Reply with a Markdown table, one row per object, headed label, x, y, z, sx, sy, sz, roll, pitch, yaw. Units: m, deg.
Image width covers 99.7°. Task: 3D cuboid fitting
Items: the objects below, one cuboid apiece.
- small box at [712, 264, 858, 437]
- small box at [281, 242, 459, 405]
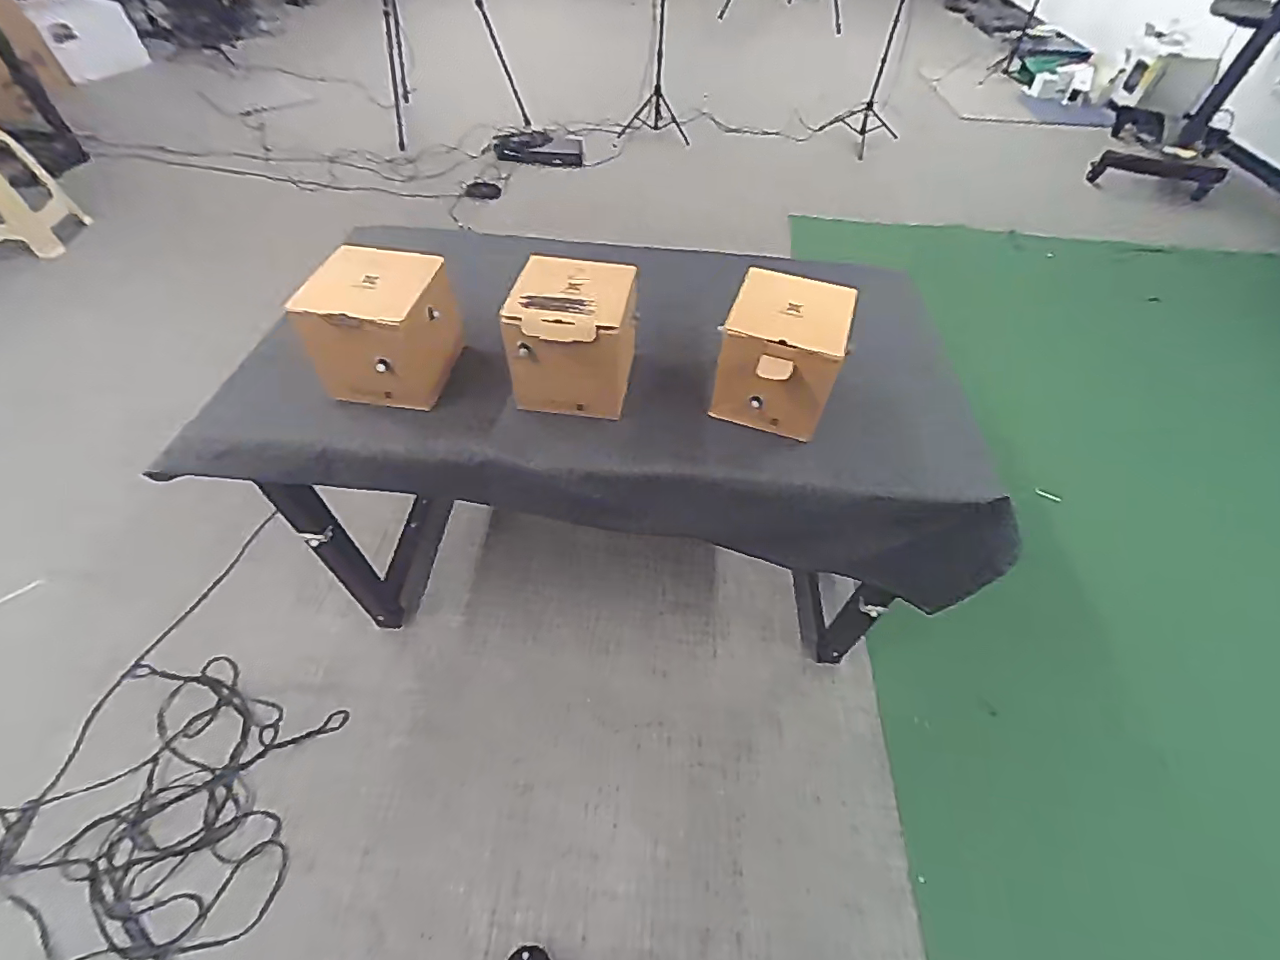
| label | x | y | z | sx | sy | sz | roll | pitch | yaw |
| --- | --- | --- | --- | --- | --- | --- | --- | --- | --- |
| small box | 0.217 | -0.198 | 0.833 | 0.168 | 0.176 | 0.179 | 17 | 53 | 10 |
| small box | -0.394 | -0.237 | 0.832 | 0.168 | 0.176 | 0.179 | 8 | 50 | 1 |
